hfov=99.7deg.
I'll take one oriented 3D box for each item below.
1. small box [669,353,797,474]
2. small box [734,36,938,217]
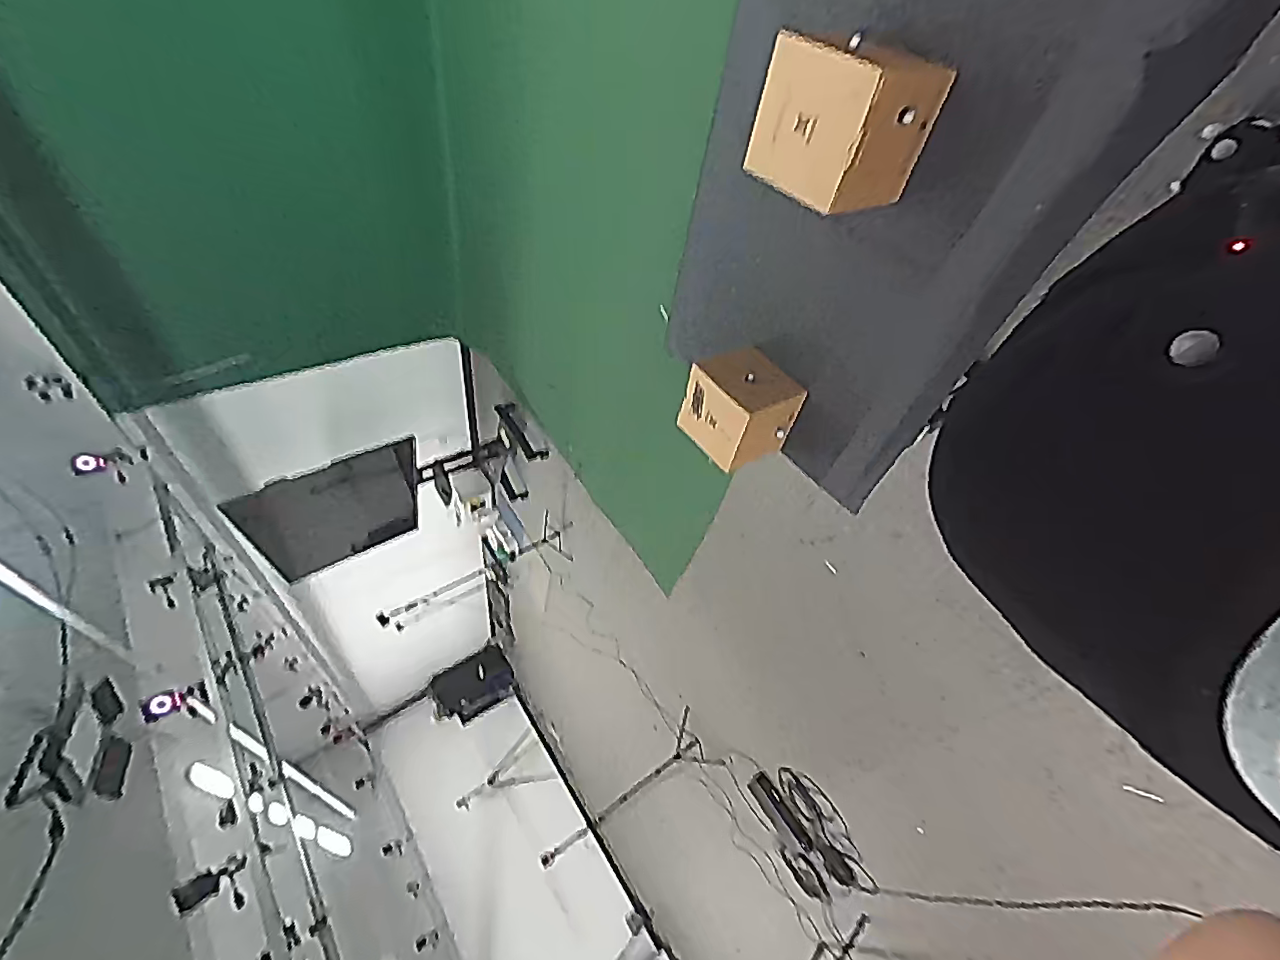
[{"bbox_3d":[0.191,-0.147,1.131,0.179,0.176,0.168,49,147,28],"label":"small box"},{"bbox_3d":[0.268,-0.493,0.754,0.179,0.176,0.168,49,146,29],"label":"small box"}]
